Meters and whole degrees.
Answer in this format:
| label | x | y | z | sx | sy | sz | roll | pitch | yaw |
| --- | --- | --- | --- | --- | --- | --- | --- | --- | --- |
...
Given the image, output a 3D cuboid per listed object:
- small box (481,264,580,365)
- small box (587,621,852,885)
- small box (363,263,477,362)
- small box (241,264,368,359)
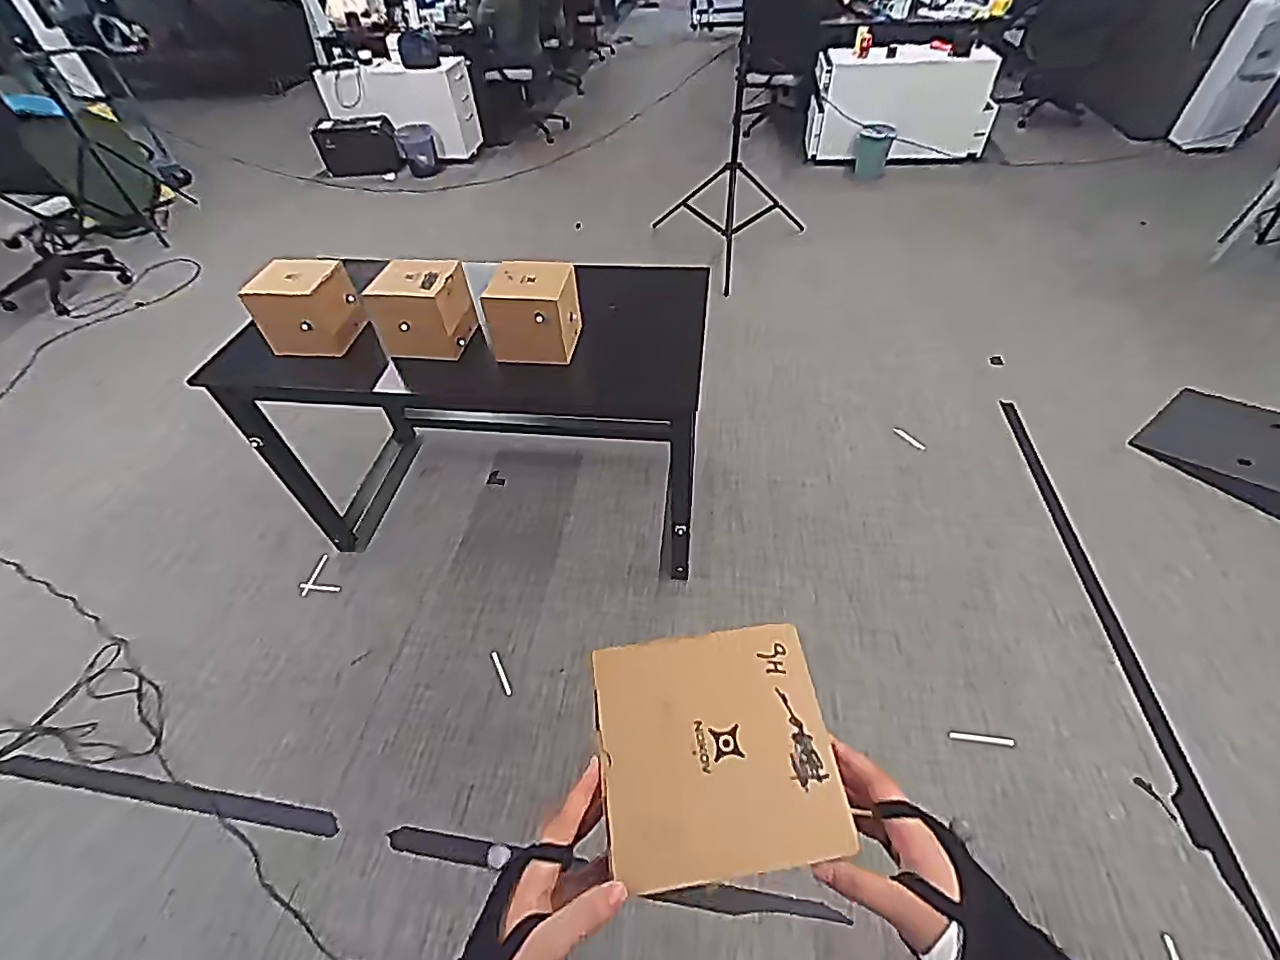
| label | x | y | z | sx | sy | sz | roll | pitch | yaw |
| --- | --- | --- | --- | --- | --- | --- | --- | --- | --- |
| small box | -0.244 | -0.383 | 1.262 | 0.179 | 0.176 | 0.168 | 3 | 48 | 7 |
| small box | 0.053 | 0.241 | 0.478 | 0.179 | 0.176 | 0.168 | -7 | 58 | -5 |
| small box | -0.512 | -0.399 | 1.294 | 0.179 | 0.176 | 0.168 | 4 | 49 | 8 |
| small box | -0.806 | -0.410 | 1.324 | 0.179 | 0.176 | 0.168 | 1 | 48 | 6 |
